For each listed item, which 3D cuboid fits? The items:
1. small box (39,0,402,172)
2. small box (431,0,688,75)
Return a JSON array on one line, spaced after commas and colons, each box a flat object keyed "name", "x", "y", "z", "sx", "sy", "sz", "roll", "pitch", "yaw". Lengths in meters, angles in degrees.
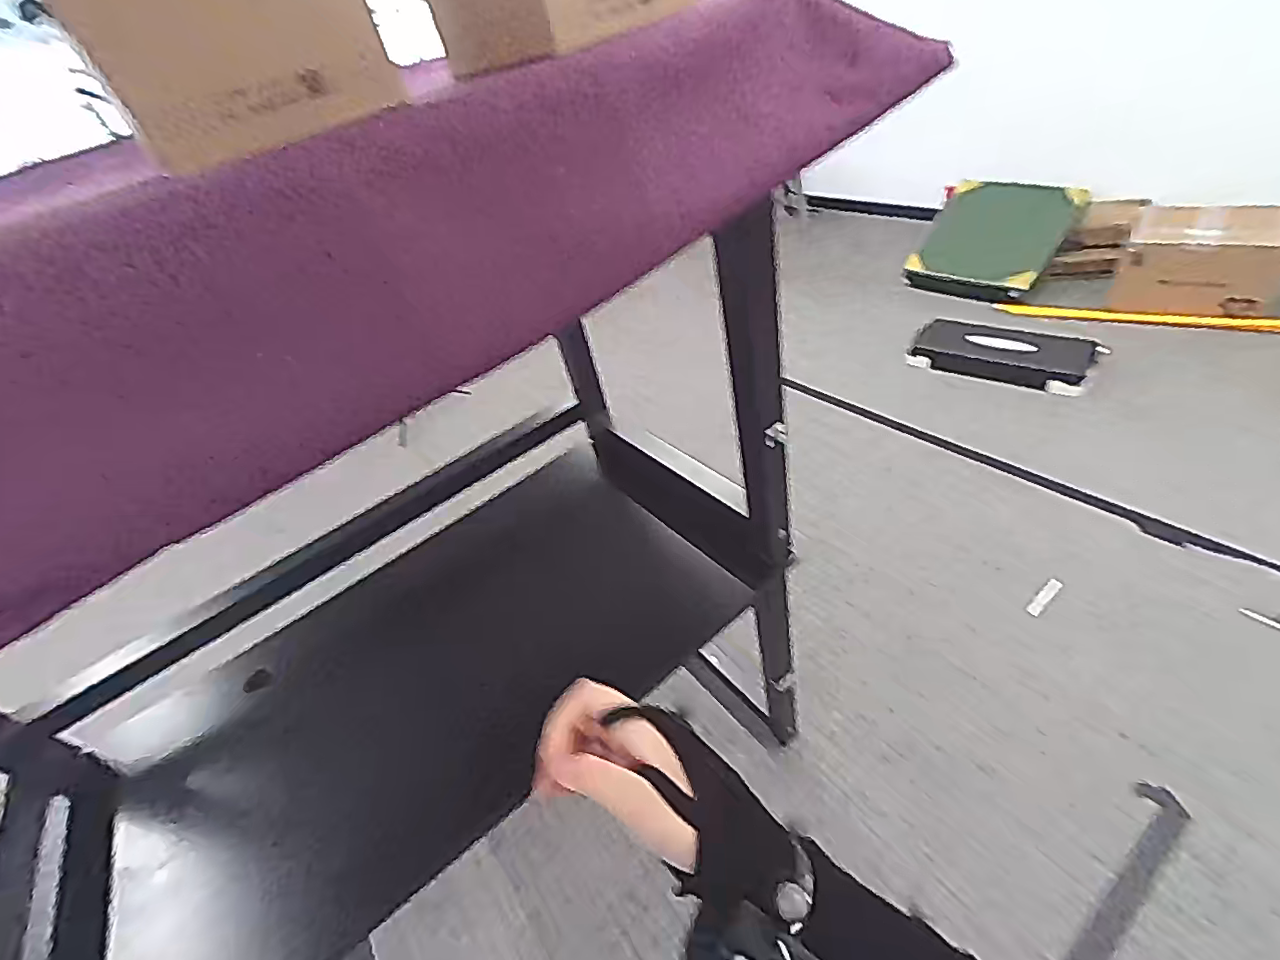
[{"name": "small box", "x": -0.296, "y": -0.324, "z": 0.368, "sx": 0.168, "sy": 0.176, "sz": 0.179, "roll": -37, "pitch": 44, "yaw": -24}, {"name": "small box", "x": -0.084, "y": -0.461, "z": 0.448, "sx": 0.168, "sy": 0.176, "sz": 0.179, "roll": -40, "pitch": 46, "yaw": -25}]
